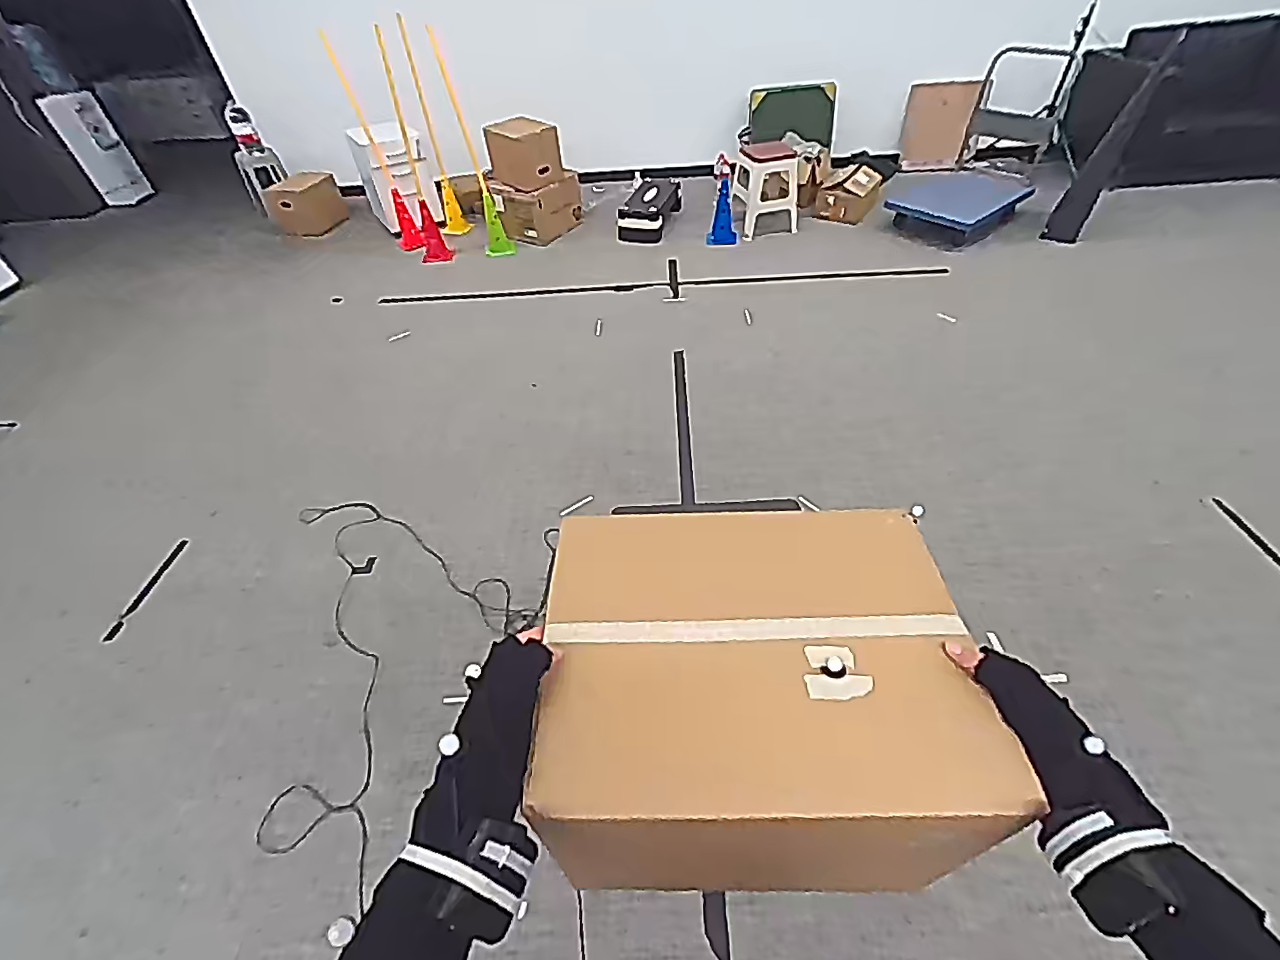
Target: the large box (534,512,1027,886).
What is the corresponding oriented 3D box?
[{"bbox_3d":[0.114,0.257,0.638,0.408,0.320,0.320,-1,45,2],"label":"large box"}]
